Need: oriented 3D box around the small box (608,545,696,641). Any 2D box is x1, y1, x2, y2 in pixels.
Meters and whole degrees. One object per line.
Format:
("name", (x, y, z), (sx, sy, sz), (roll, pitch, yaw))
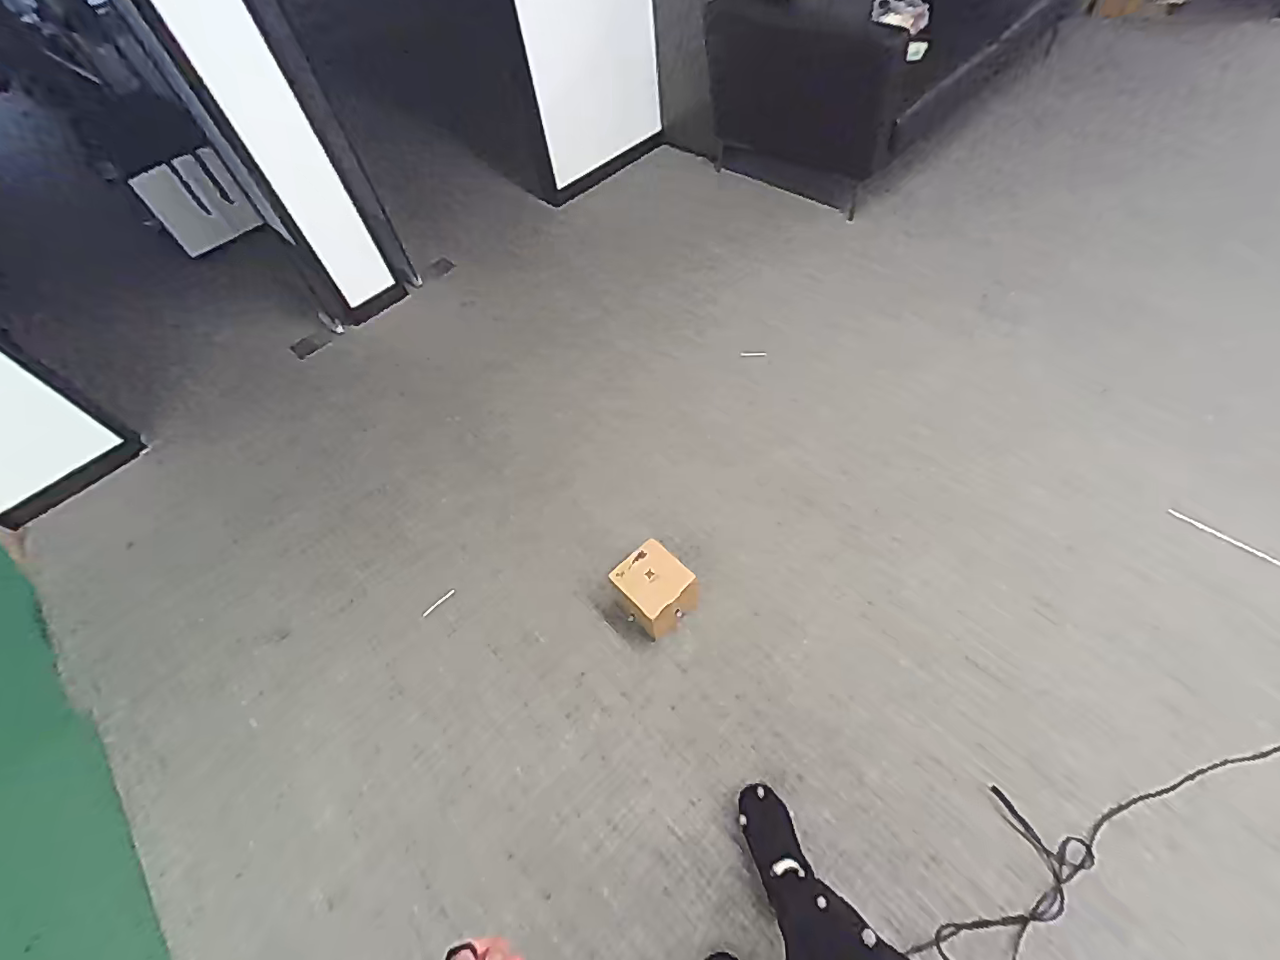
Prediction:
("small box", (0.038, 0.316, 1.477), (0.168, 0.176, 0.179), (-39, 59, -19))
